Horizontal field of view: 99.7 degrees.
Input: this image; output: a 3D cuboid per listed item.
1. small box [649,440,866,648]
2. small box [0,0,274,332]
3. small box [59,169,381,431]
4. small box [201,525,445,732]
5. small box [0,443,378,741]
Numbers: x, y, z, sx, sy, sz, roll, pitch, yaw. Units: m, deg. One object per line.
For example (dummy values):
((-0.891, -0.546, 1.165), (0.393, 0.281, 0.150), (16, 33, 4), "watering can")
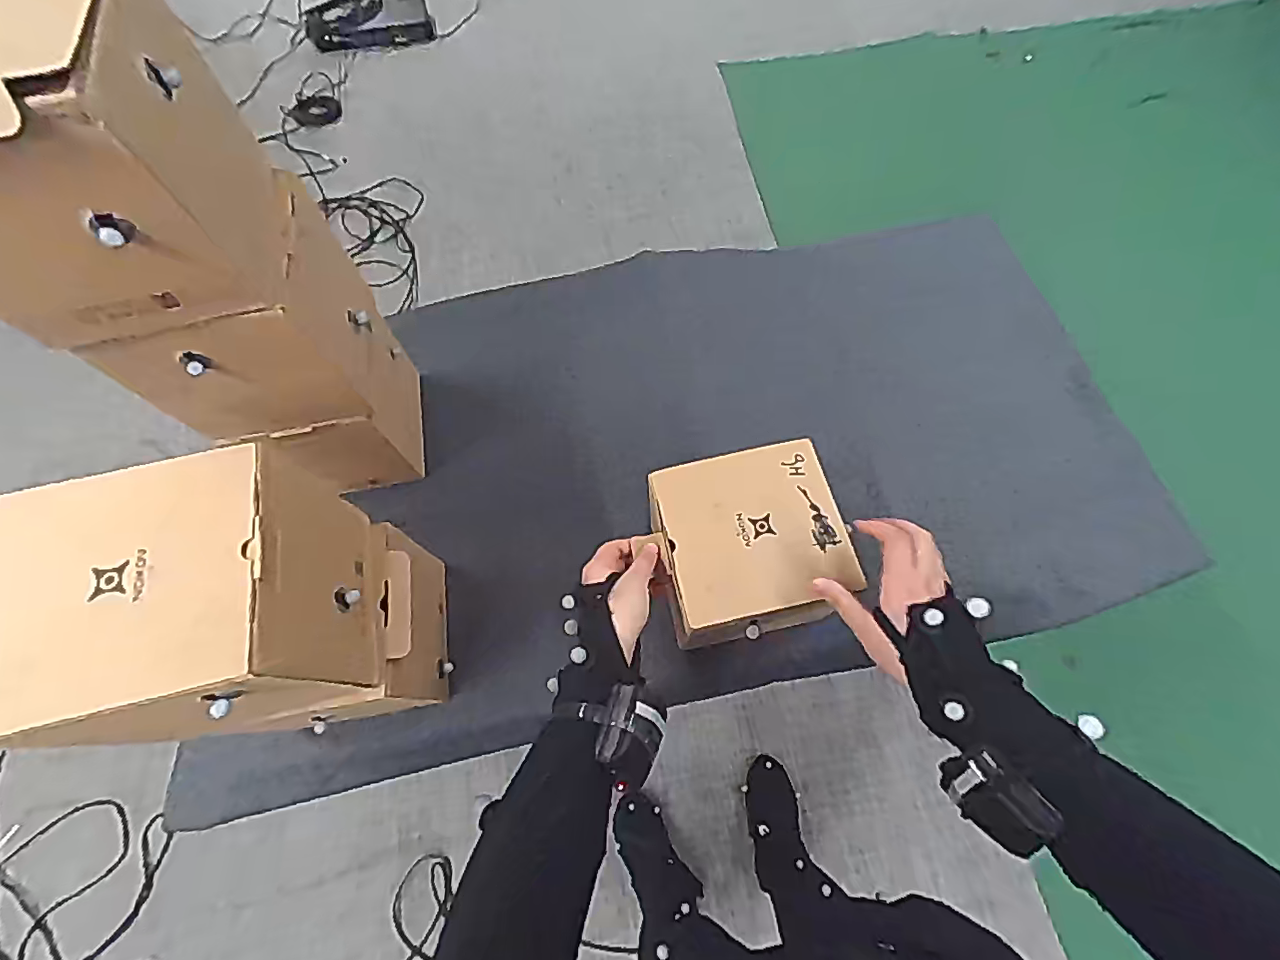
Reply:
((0.115, 0.080, 0.598), (0.179, 0.176, 0.168), (-12, 67, -2), "small box")
((-0.387, -0.224, 0.377), (0.168, 0.176, 0.179), (-13, 67, -7), "small box")
((-0.379, -0.163, 0.527), (0.179, 0.176, 0.168), (-10, 68, -4), "small box")
((-0.315, 0.159, 0.570), (0.179, 0.176, 0.168), (-9, 67, -3), "small box")
((-0.332, 0.096, 0.421), (0.179, 0.176, 0.168), (-13, 68, -5), "small box")
